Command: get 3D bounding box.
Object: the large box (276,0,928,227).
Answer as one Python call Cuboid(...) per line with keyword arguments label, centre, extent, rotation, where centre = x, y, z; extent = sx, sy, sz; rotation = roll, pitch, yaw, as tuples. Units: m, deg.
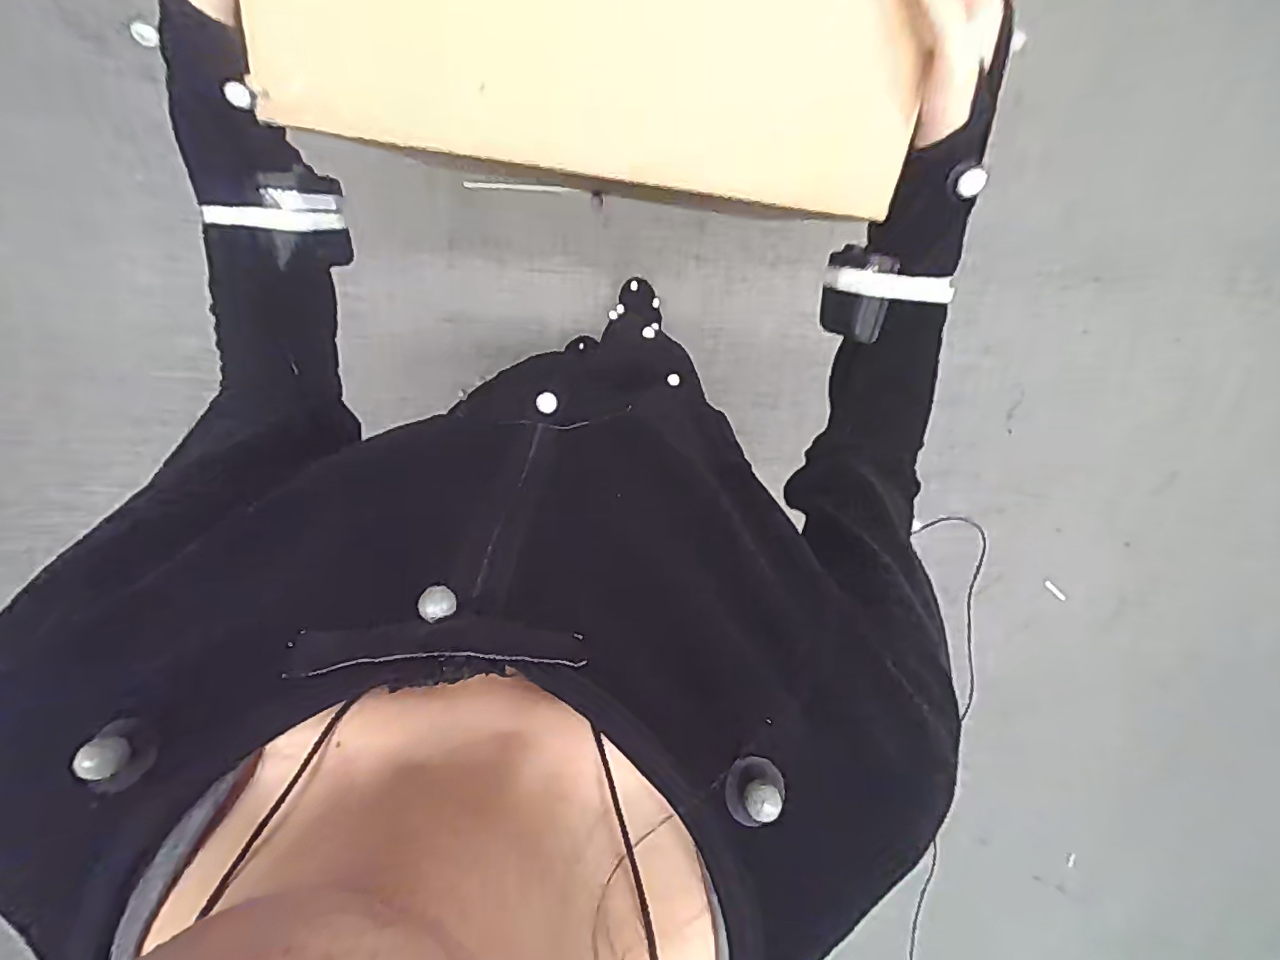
Cuboid(label="large box", centre=(-0.015, -0.406, 0.441), extent=(0.408, 0.320, 0.320), rotation=(7, 115, -5))
